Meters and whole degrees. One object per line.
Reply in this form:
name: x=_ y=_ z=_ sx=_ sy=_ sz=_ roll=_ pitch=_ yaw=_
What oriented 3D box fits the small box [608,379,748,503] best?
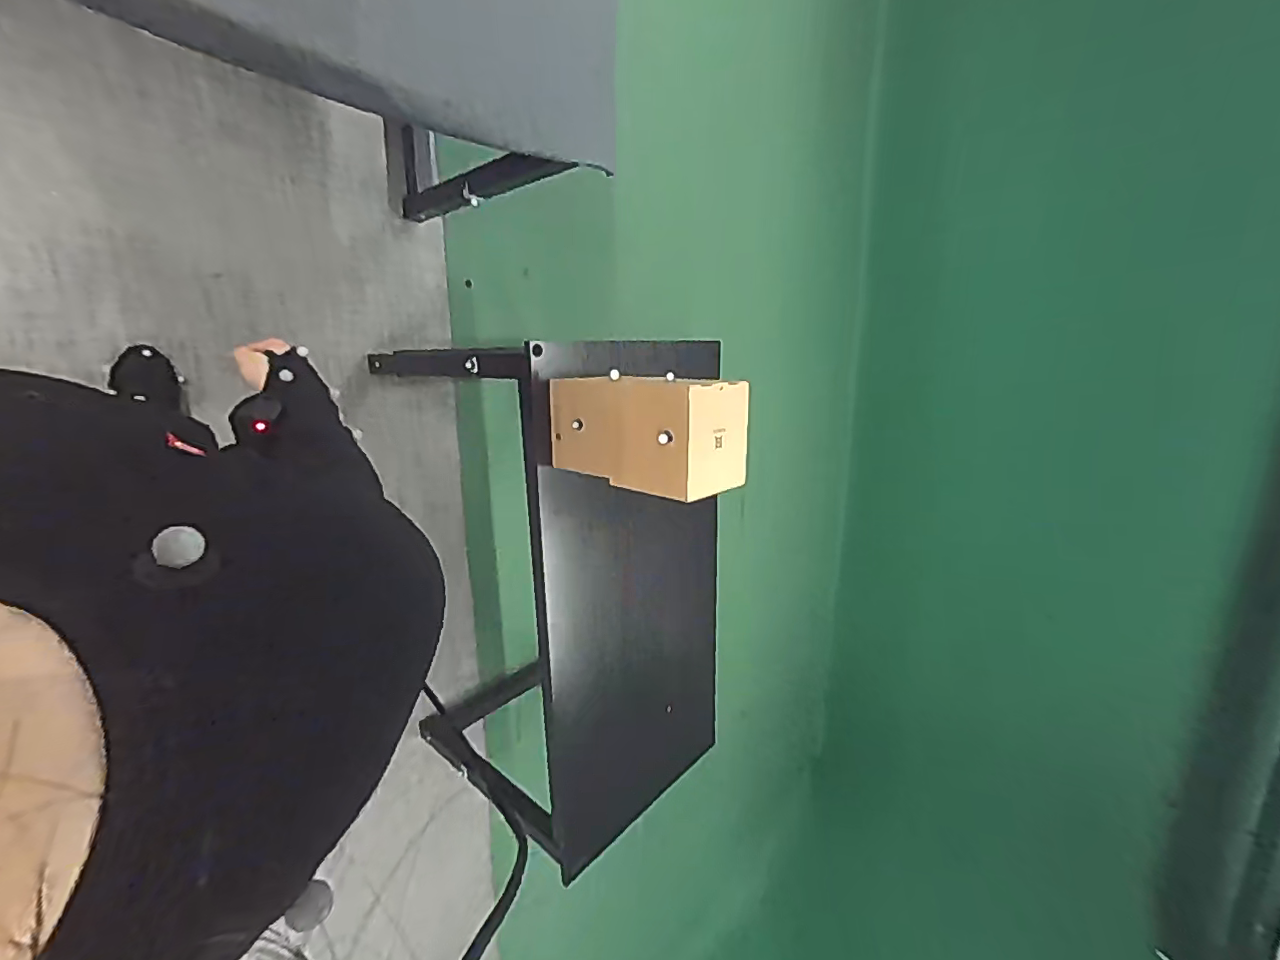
small box: x=0.059 y=-0.074 z=0.893 sx=0.168 sy=0.176 sz=0.179 roll=-14 pitch=109 yaw=-46

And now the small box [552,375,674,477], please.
small box: x=-0.051 y=-0.108 z=1.009 sx=0.179 sy=0.176 sz=0.168 roll=-15 pitch=110 yaw=-47
